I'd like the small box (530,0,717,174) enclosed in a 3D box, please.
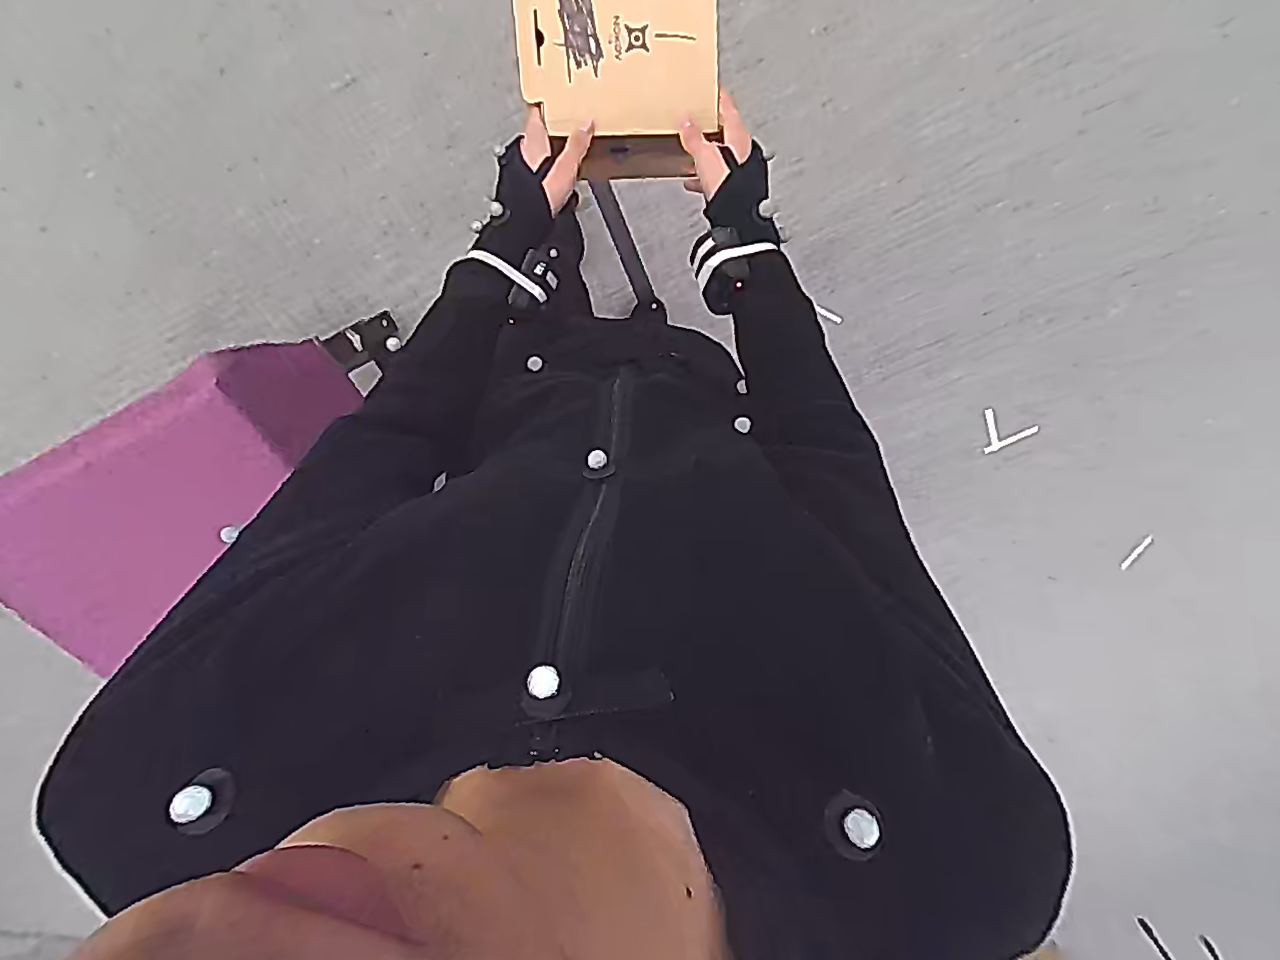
[{"bbox_3d":[-0.021,-0.444,0.585,0.179,0.176,0.168,-5,106,-5],"label":"small box"}]
